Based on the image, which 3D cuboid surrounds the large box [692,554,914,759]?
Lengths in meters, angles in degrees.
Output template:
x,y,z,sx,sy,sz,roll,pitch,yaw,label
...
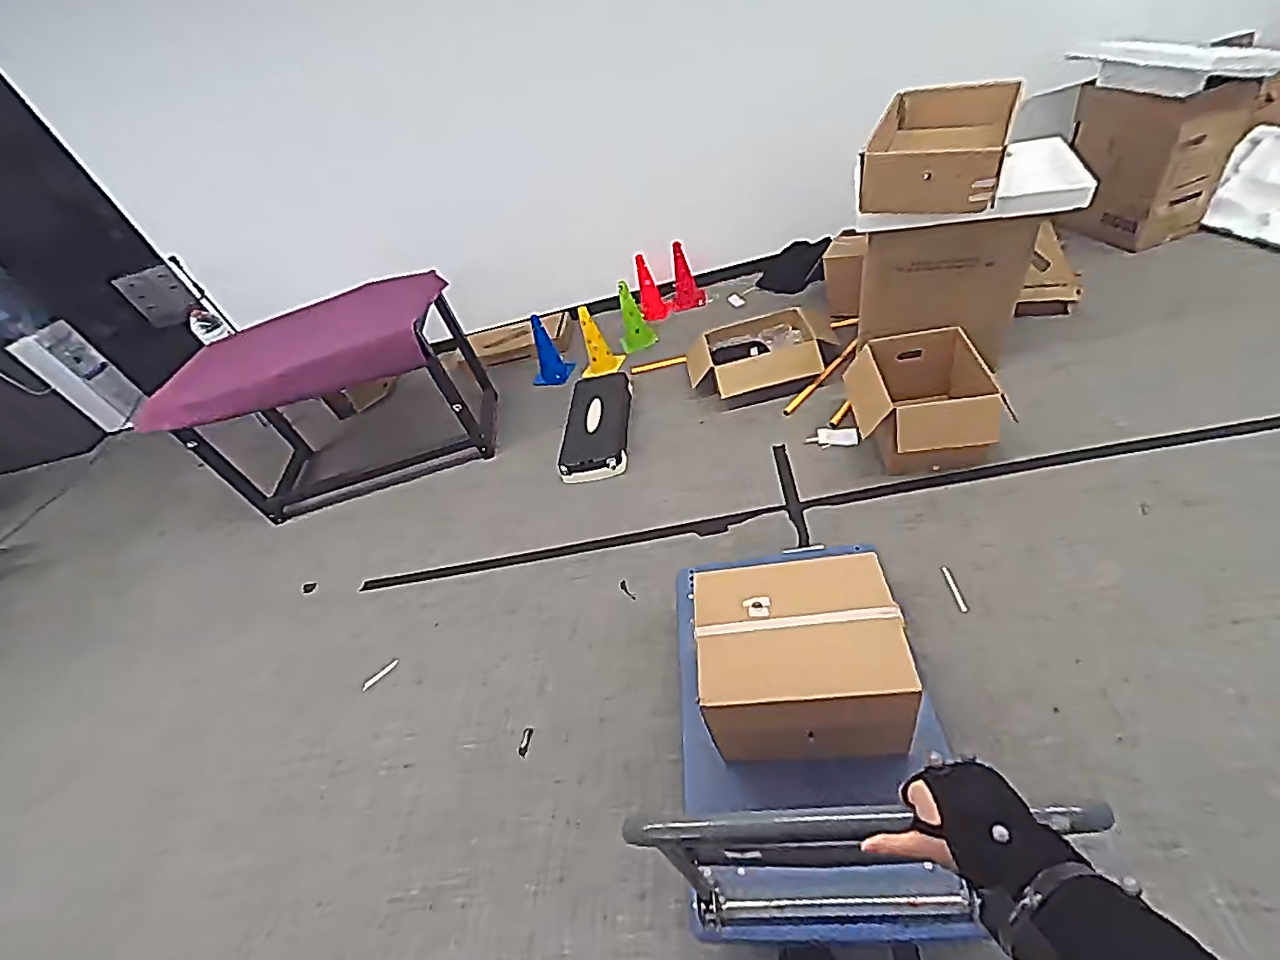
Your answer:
x,y,z,sx,sy,sz,roll,pitch,yaw,label
0.352,0.409,1.223,0.408,0.320,0.320,-10,42,12,large box
